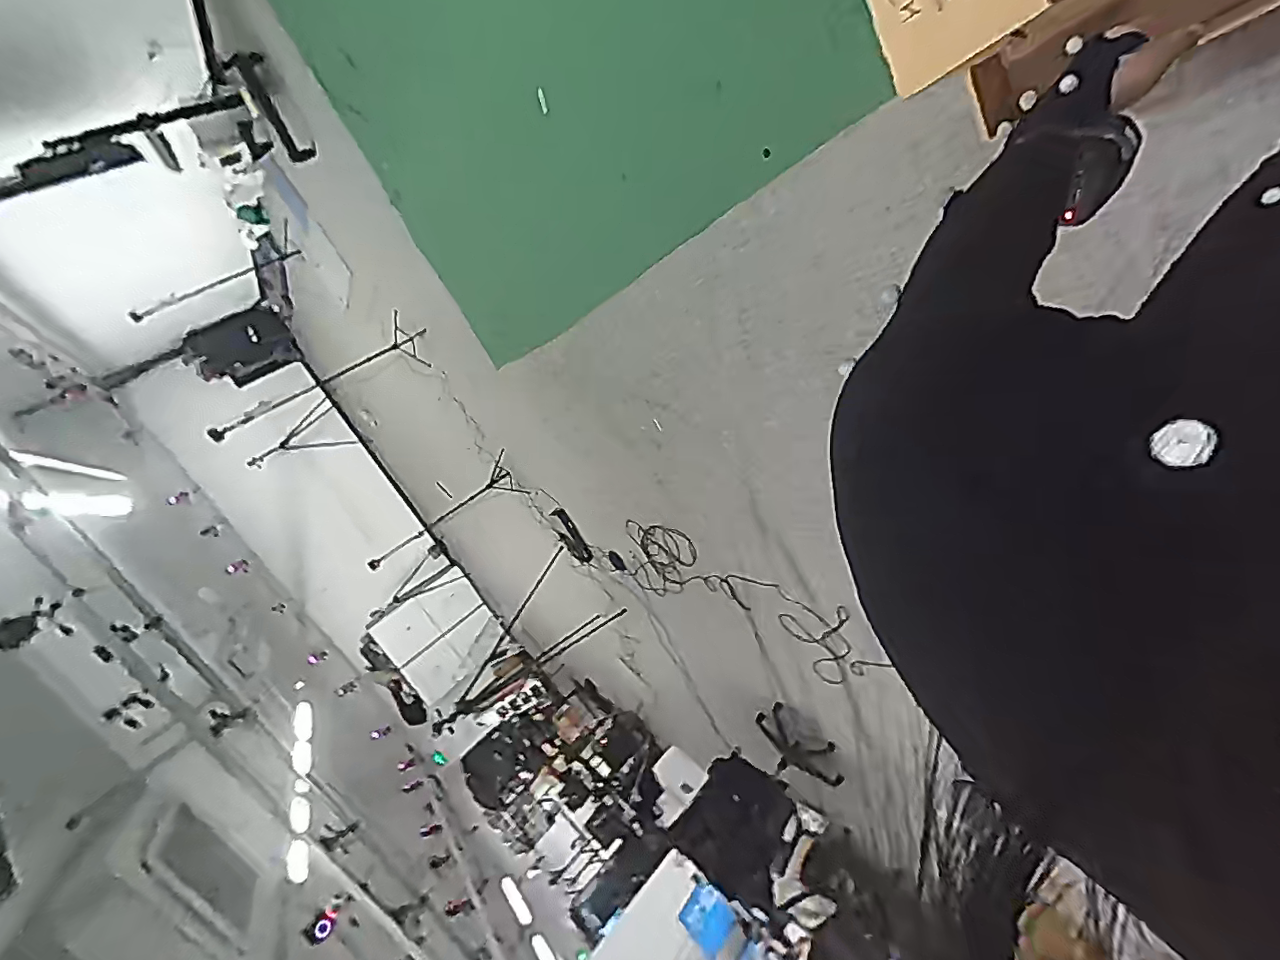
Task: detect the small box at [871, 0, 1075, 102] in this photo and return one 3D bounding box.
[{"bbox_3d":[0.425,-0.628,0.678,0.179,0.176,0.168,-3,122,57],"label":"small box"}]
